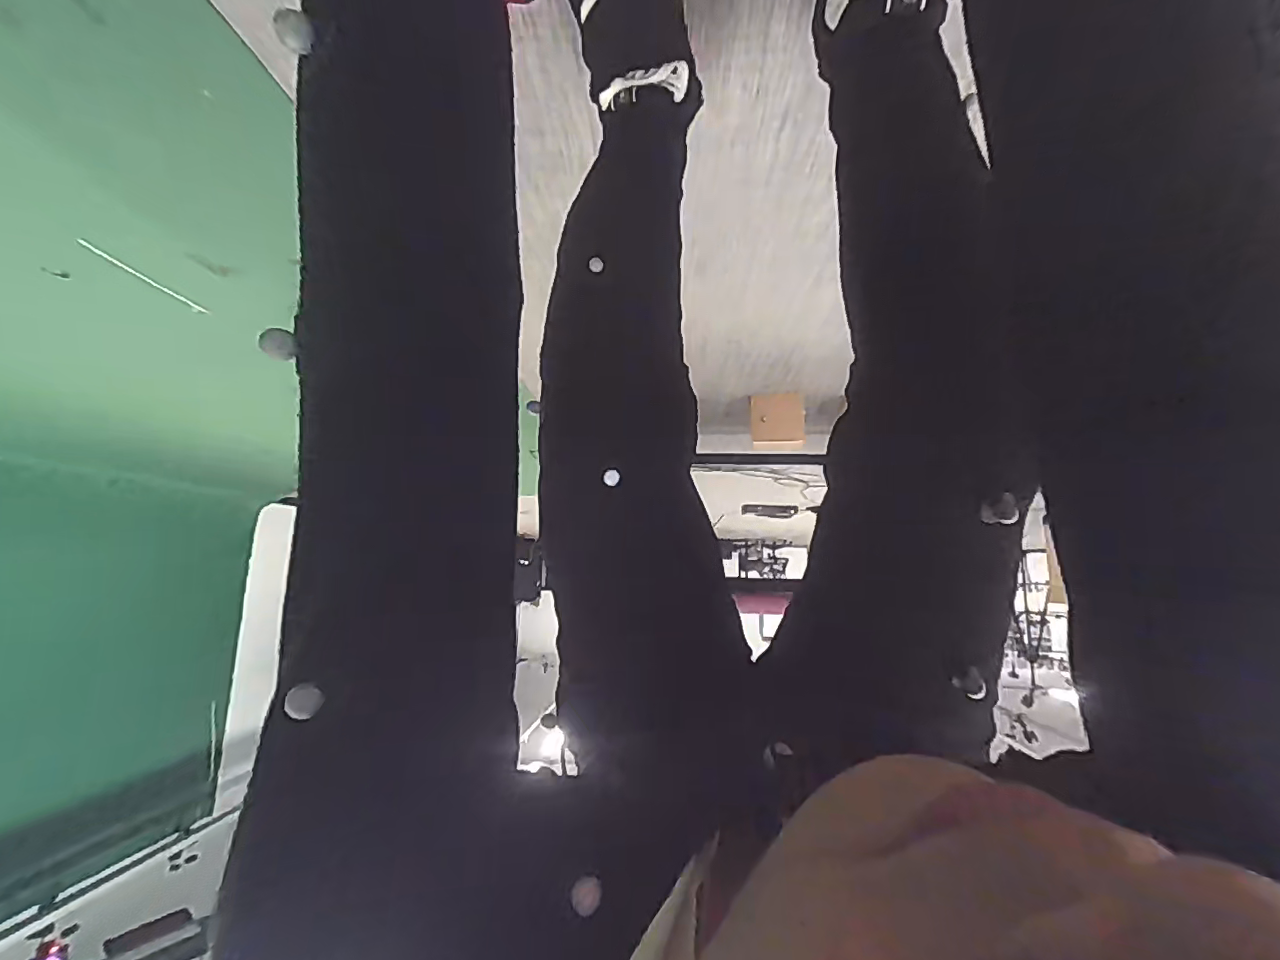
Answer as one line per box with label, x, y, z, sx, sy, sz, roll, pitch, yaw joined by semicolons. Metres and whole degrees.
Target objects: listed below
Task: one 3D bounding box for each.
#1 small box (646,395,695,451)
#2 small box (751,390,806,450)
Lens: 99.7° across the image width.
small box;0.111;-0.204;1.936;0.168;0.176;0.179;0;171;7
small box;0.475;-0.206;1.878;0.179;0.176;0.168;-1;171;11
